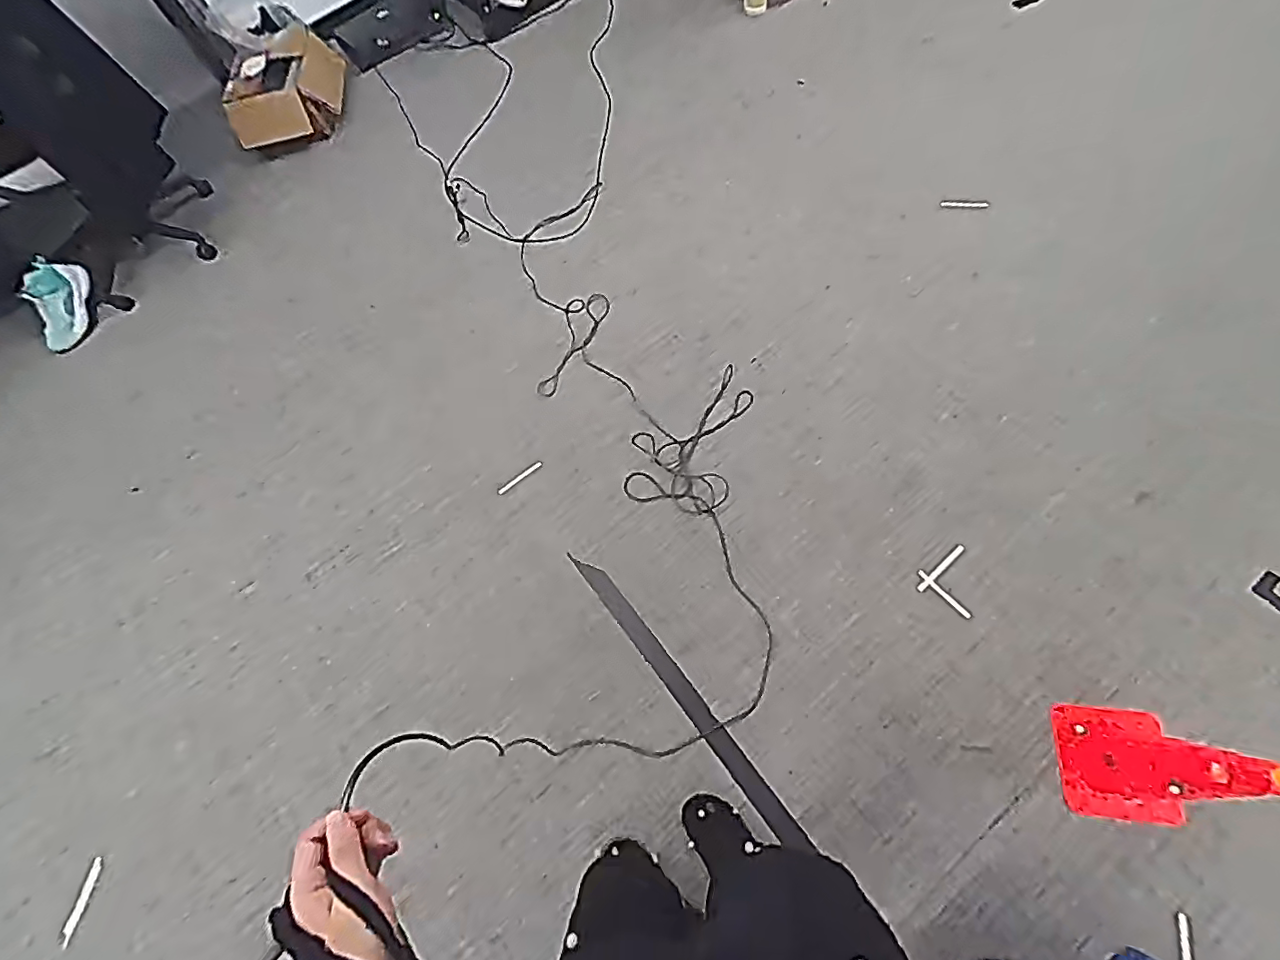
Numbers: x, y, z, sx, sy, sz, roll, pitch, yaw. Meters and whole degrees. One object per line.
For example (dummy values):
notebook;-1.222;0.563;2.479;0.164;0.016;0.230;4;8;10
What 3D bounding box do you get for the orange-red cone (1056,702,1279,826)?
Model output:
orange-red cone;0.909;0.483;0.900;0.198;0.360;0.199;3;68;10
